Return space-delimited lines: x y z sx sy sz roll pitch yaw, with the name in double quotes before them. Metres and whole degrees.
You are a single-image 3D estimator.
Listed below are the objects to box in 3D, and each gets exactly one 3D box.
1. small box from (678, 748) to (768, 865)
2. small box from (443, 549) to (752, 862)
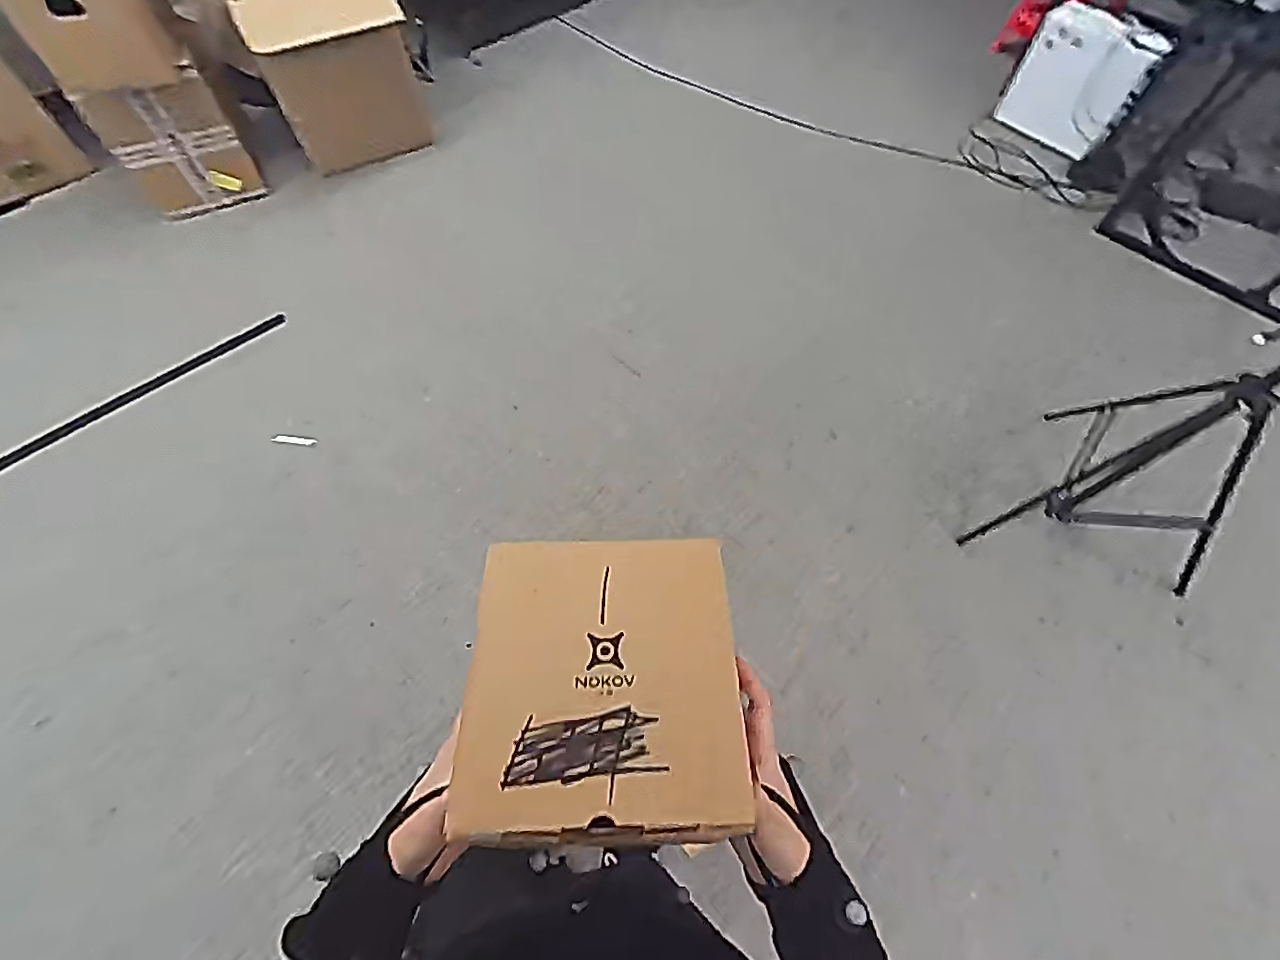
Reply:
"small box" 0.086 0.498 0.908 0.179 0.176 0.168 -38 67 -18
"small box" -0.024 0.167 0.392 0.168 0.176 0.179 -1 54 -2
